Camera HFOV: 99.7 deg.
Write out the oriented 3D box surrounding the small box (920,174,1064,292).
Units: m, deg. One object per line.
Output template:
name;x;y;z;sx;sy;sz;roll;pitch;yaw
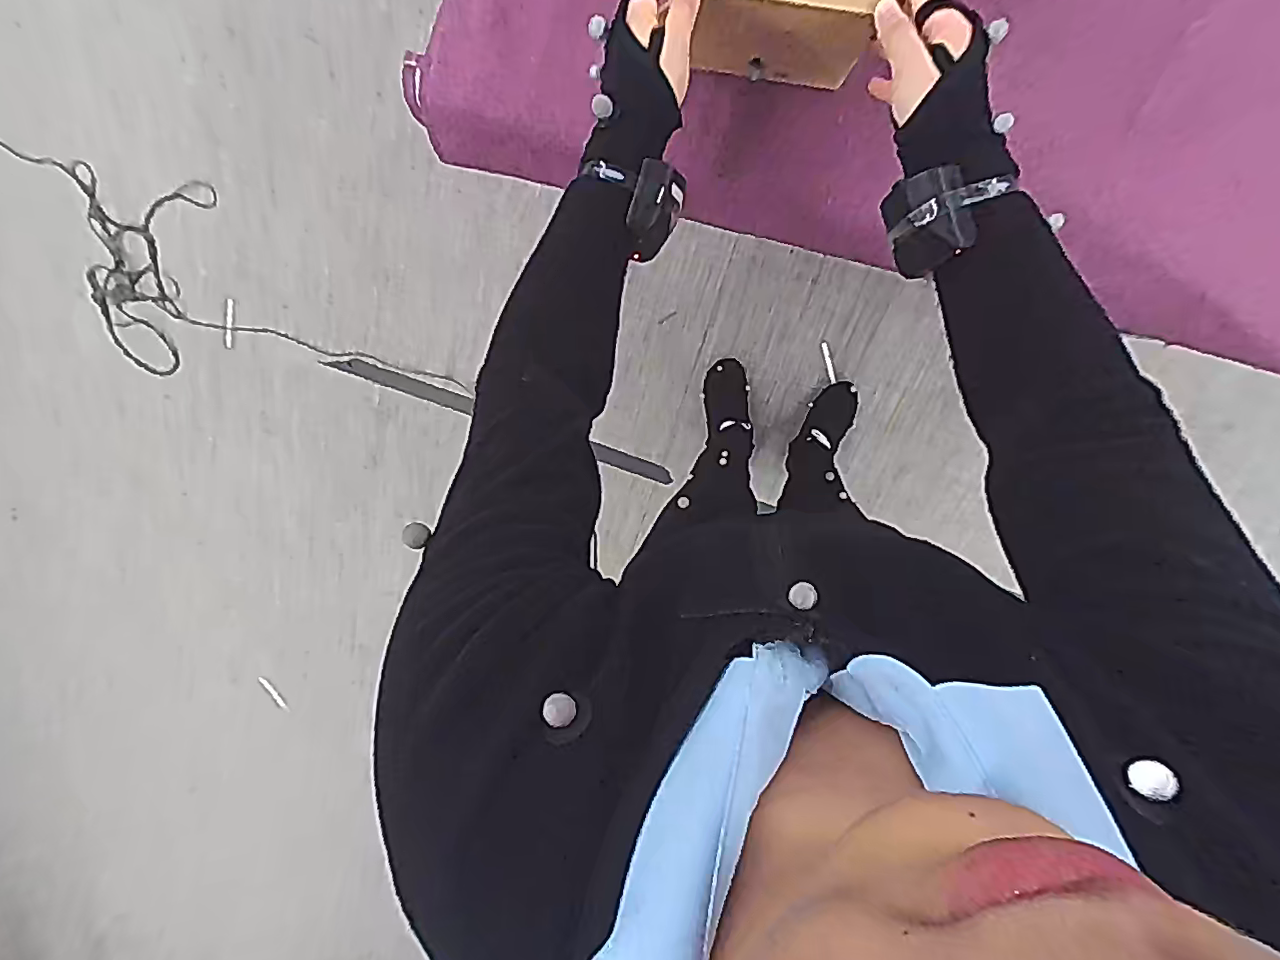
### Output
small box;0.727;-0.513;1.146;0.168;0.176;0.179;21;110;0
